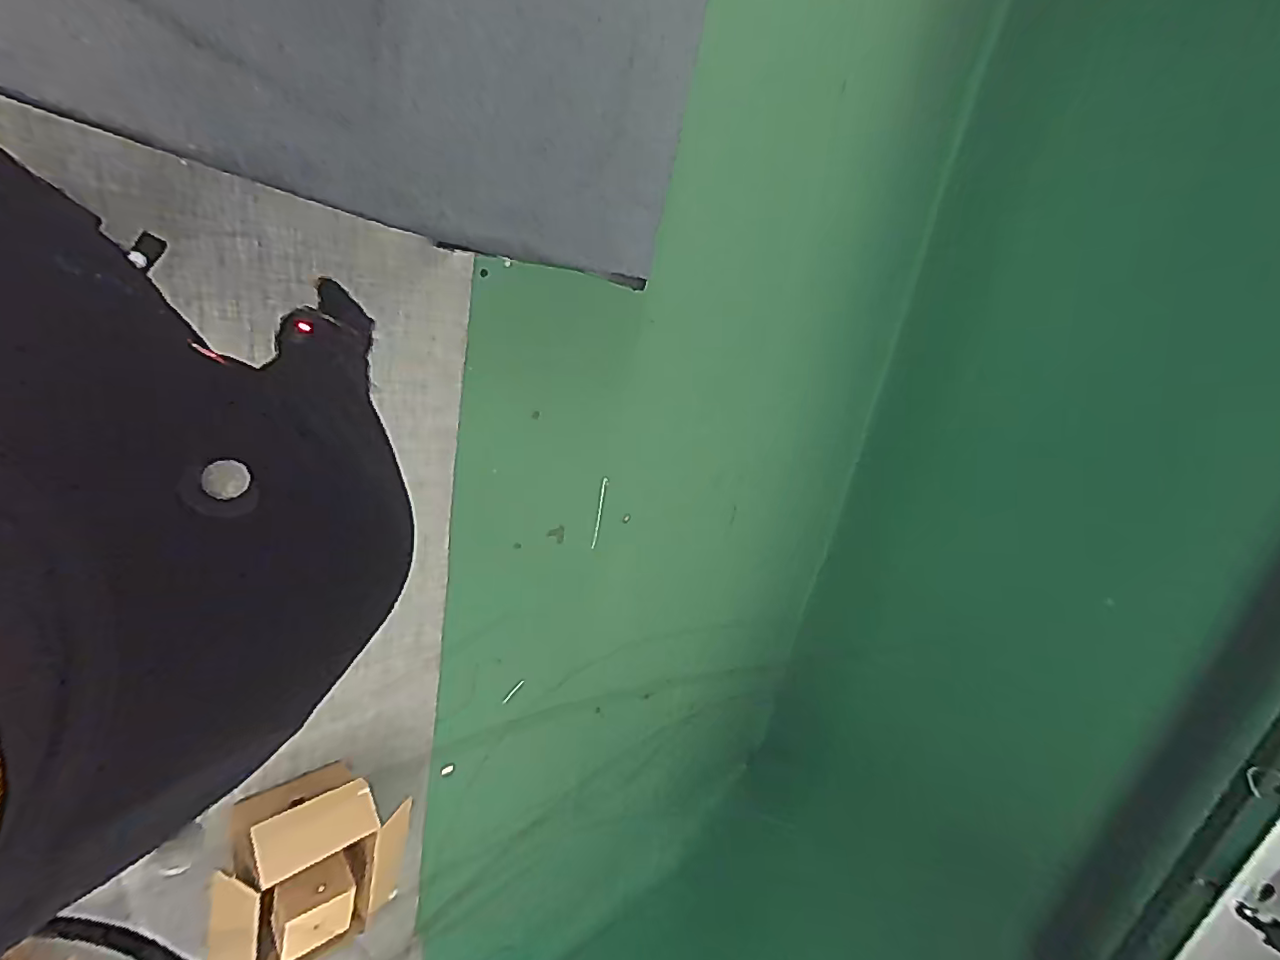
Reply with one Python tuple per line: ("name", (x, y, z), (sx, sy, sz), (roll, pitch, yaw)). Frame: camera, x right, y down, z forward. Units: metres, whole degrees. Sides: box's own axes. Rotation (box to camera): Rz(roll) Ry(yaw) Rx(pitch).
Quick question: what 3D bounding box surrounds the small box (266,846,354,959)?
("small box", (-0.946, 1.206, 1.543), (0.179, 0.176, 0.168), (-2, 112, -47))
